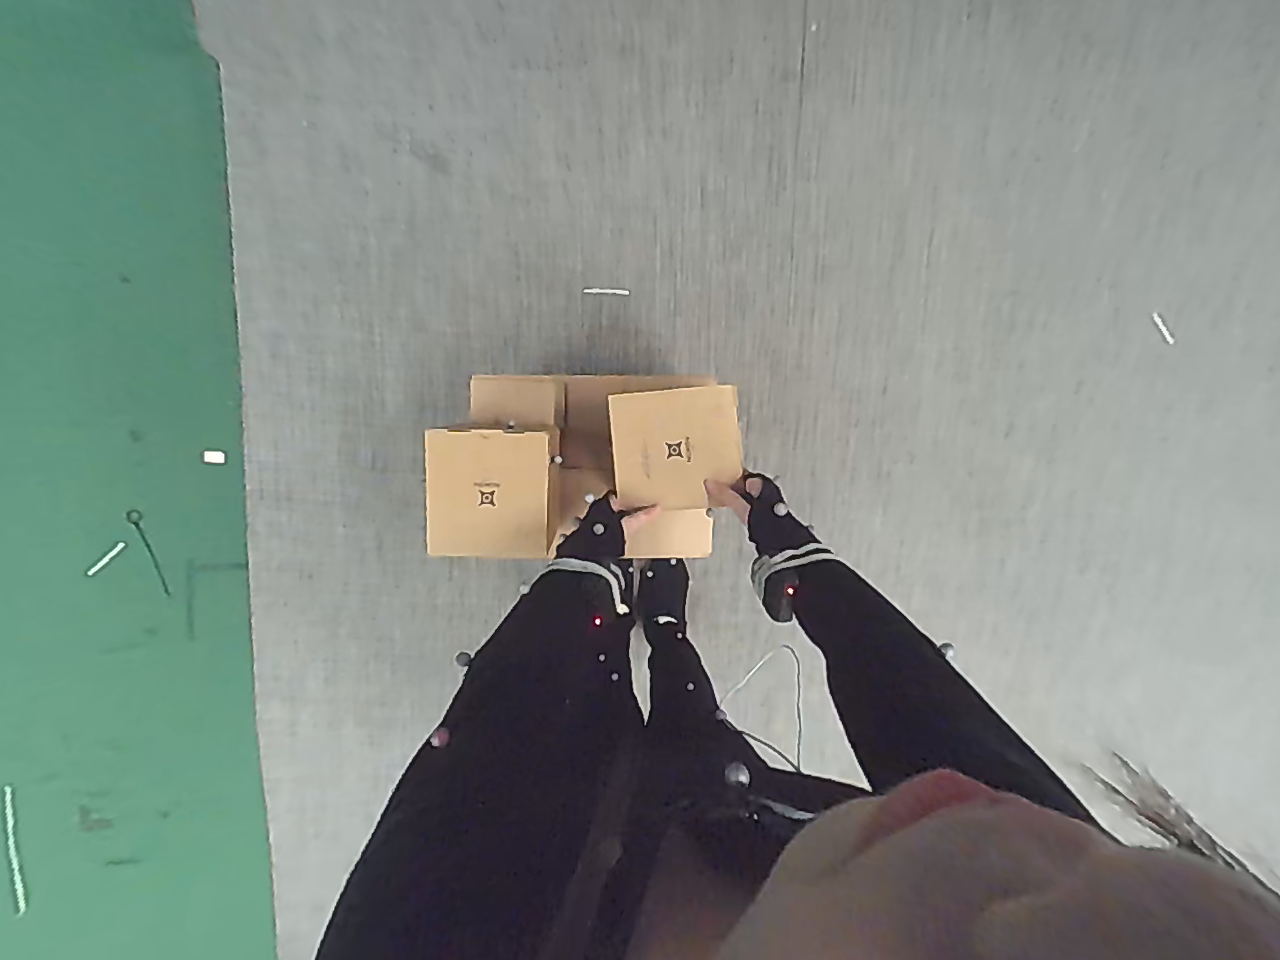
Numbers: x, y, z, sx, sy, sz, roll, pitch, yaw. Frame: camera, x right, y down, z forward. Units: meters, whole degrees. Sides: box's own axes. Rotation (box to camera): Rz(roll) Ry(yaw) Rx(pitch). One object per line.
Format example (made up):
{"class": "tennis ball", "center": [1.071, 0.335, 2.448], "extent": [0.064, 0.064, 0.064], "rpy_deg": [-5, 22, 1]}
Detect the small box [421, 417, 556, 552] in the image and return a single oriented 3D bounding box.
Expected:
{"class": "small box", "center": [-0.218, 0.000, 0.813], "extent": [0.168, 0.176, 0.179], "rpy_deg": [2, 98, -4]}

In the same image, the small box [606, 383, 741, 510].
{"class": "small box", "center": [0.046, -0.045, 0.806], "extent": [0.179, 0.176, 0.168], "rpy_deg": [-4, 89, 1]}
